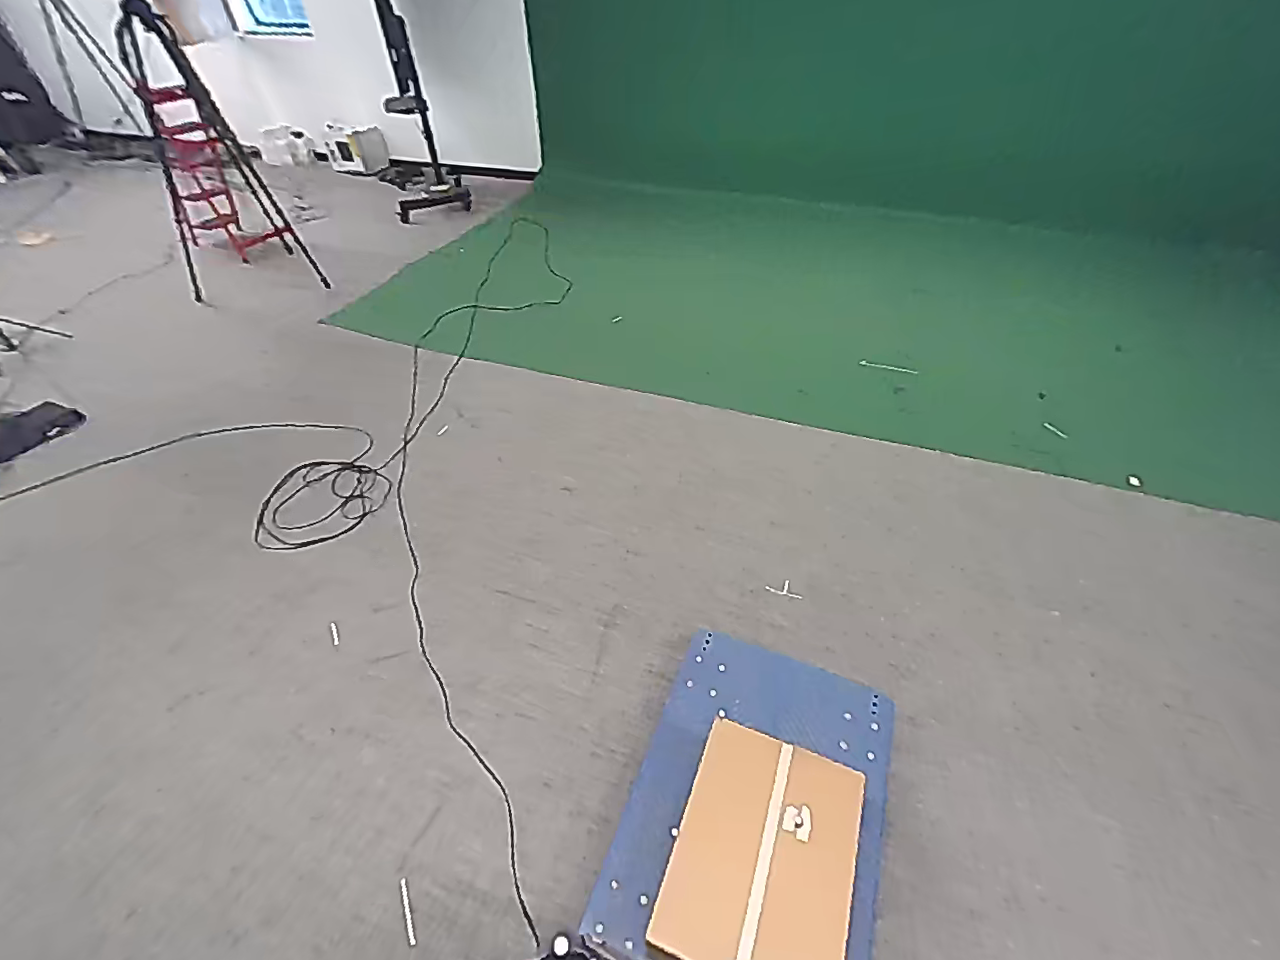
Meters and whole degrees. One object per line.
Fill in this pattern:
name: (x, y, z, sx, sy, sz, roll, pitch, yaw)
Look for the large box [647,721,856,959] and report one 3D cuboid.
large box: (0.224, 0.795, 1.100, 0.320, 0.320, 0.408, 16, 46, 16)
